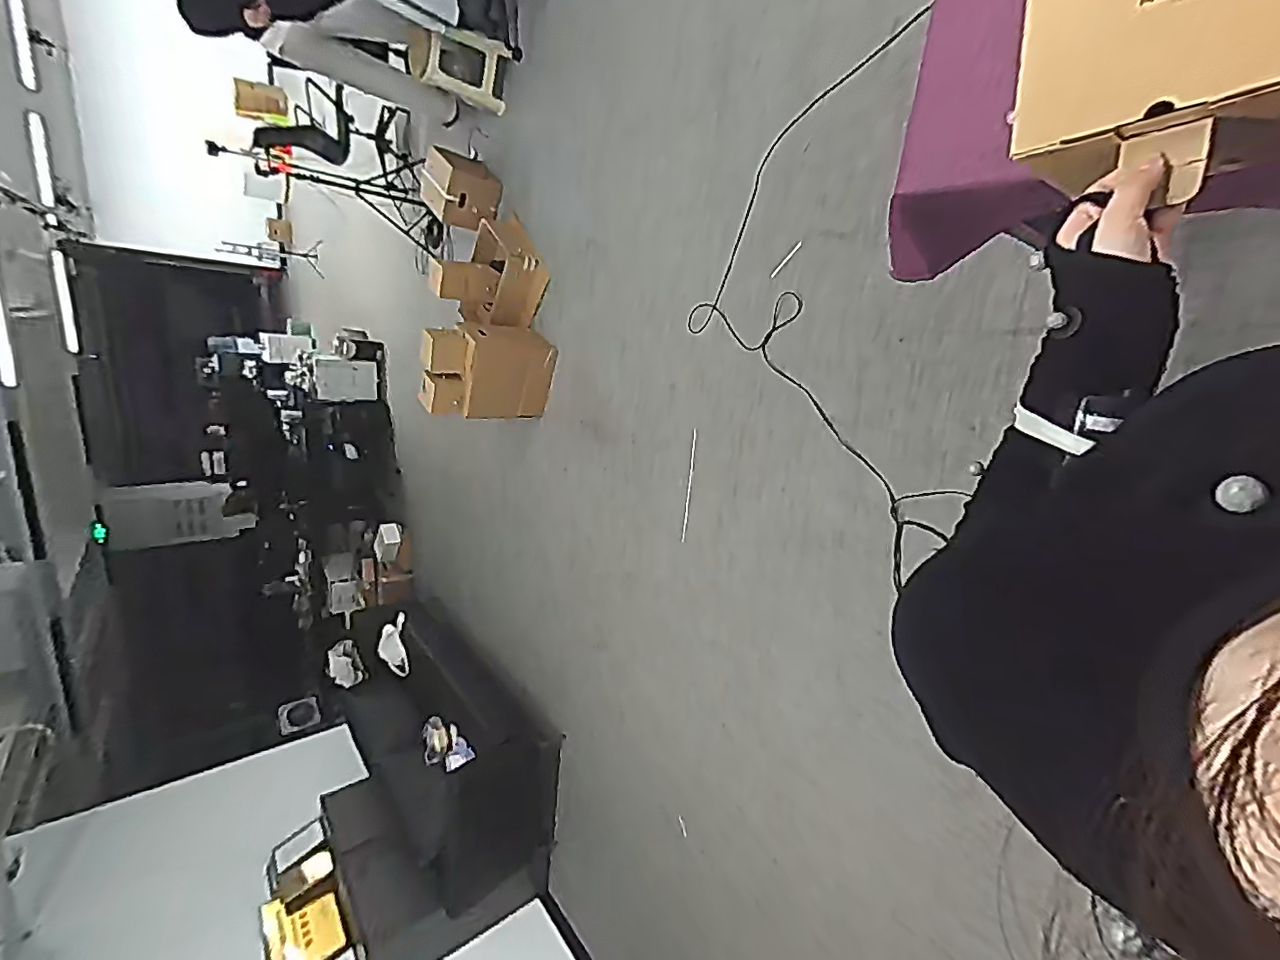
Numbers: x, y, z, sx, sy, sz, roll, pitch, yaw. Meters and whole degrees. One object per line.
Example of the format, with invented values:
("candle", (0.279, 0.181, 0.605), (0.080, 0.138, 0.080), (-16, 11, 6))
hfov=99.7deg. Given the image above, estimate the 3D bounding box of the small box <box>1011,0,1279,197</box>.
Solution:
("small box", (0.403, -0.332, 0.395), (0.168, 0.176, 0.179), (13, 108, 50))
